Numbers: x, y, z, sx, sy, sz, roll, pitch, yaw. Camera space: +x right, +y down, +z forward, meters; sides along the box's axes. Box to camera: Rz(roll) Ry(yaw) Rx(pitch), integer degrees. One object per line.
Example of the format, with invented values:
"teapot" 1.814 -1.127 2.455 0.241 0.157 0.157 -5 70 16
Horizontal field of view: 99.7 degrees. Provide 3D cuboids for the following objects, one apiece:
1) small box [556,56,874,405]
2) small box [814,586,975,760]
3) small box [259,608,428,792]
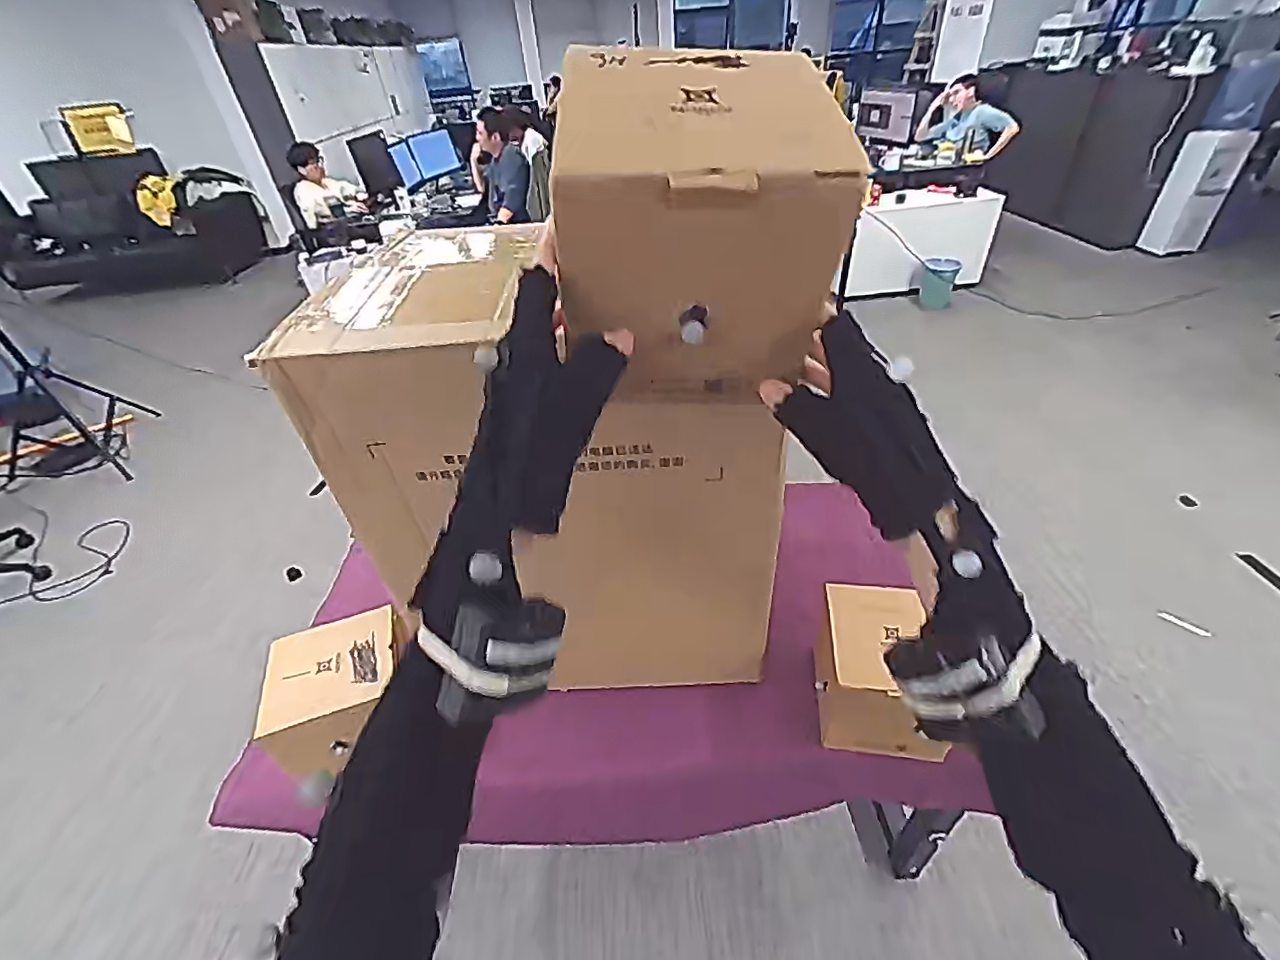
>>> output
"small box" 0.037 -0.168 0.384 0.168 0.176 0.179 0 56 -2
"small box" 0.356 0.281 0.793 0.168 0.176 0.179 3 37 9
"small box" -0.432 0.332 0.822 0.179 0.176 0.168 -15 39 -15
